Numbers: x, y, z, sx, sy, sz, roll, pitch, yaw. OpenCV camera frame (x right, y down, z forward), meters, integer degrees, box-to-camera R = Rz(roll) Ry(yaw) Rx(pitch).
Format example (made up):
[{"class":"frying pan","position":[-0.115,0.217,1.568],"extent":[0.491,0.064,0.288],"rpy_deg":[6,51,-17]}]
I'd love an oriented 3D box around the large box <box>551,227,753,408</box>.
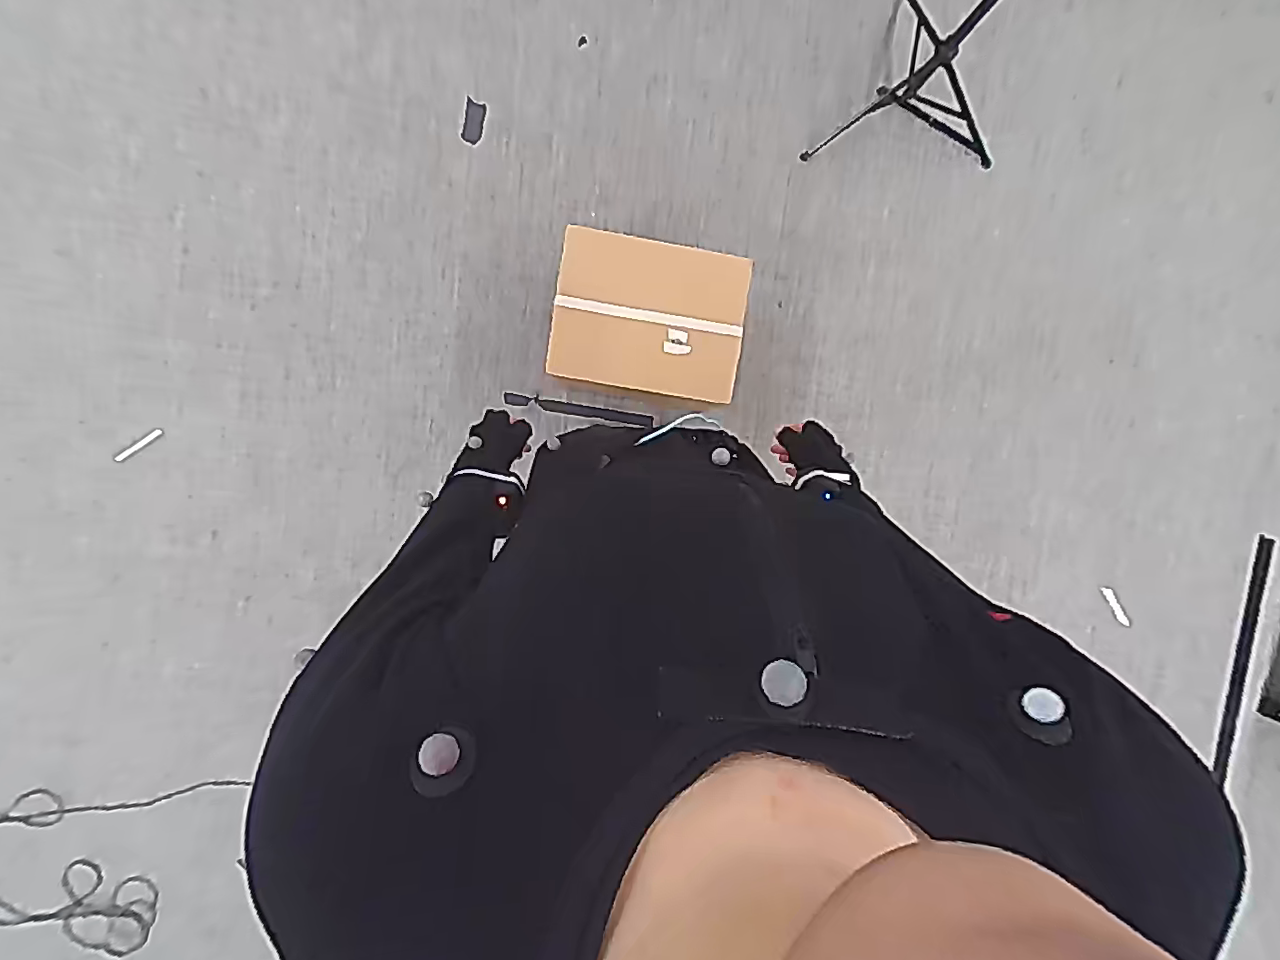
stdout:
[{"class":"large box","position":[0.015,-0.364,1.303],"extent":[0.408,0.320,0.320],"rpy_deg":[9,95,-4]}]
